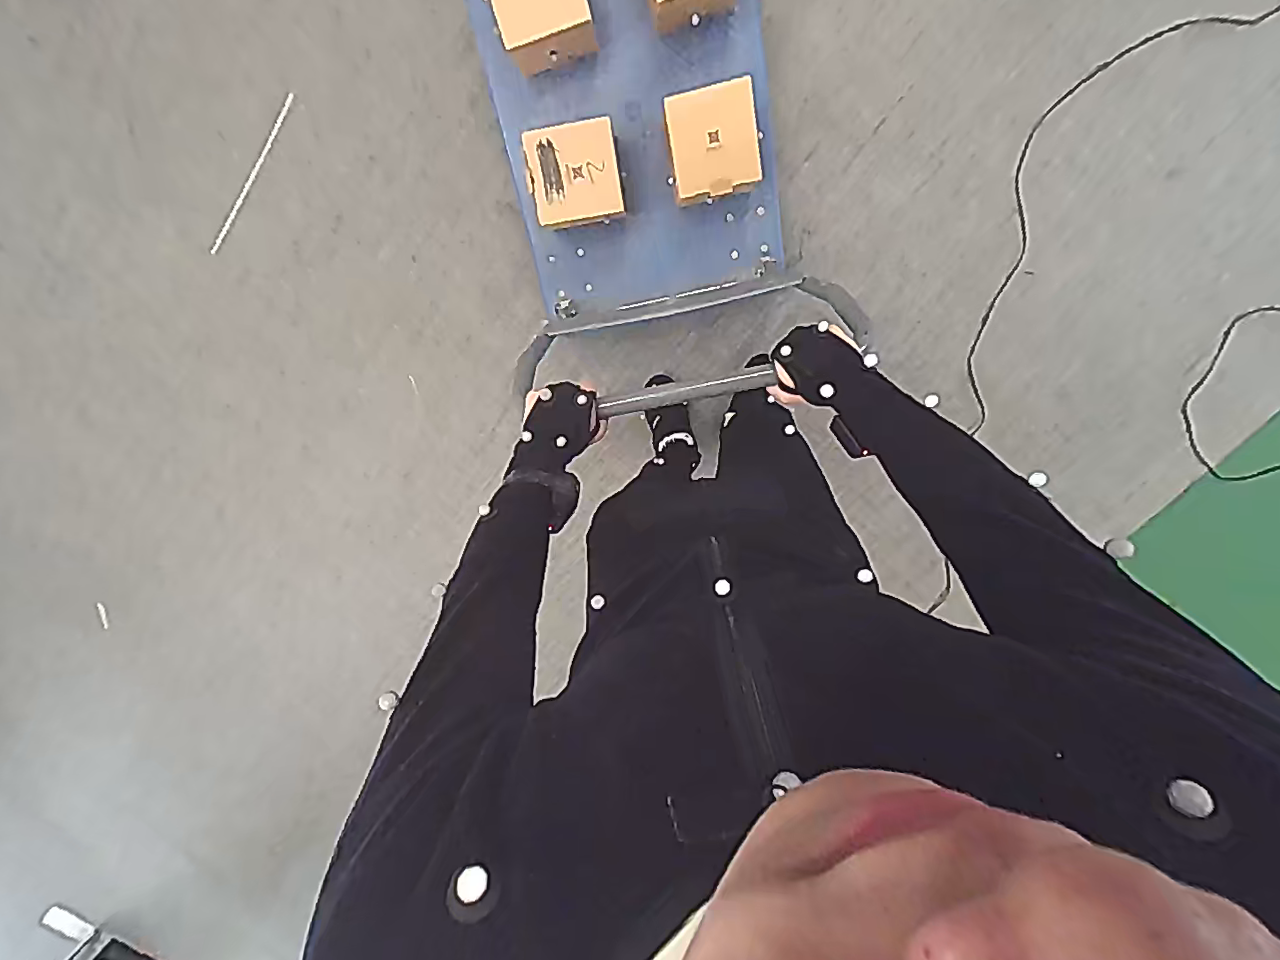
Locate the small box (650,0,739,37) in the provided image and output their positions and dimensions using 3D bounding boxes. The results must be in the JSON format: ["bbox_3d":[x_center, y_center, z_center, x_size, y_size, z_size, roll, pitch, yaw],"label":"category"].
[{"bbox_3d":[0.089,-0.957,0.979,0.168,0.176,0.179,-15,113,7],"label":"small box"}]

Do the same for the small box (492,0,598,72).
[{"bbox_3d":[-0.181,-0.896,1.008,0.168,0.176,0.179,-15,112,6],"label":"small box"}]

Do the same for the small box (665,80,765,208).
[{"bbox_3d":[0.147,-0.671,1.101,0.168,0.176,0.179,-11,113,5],"label":"small box"}]
